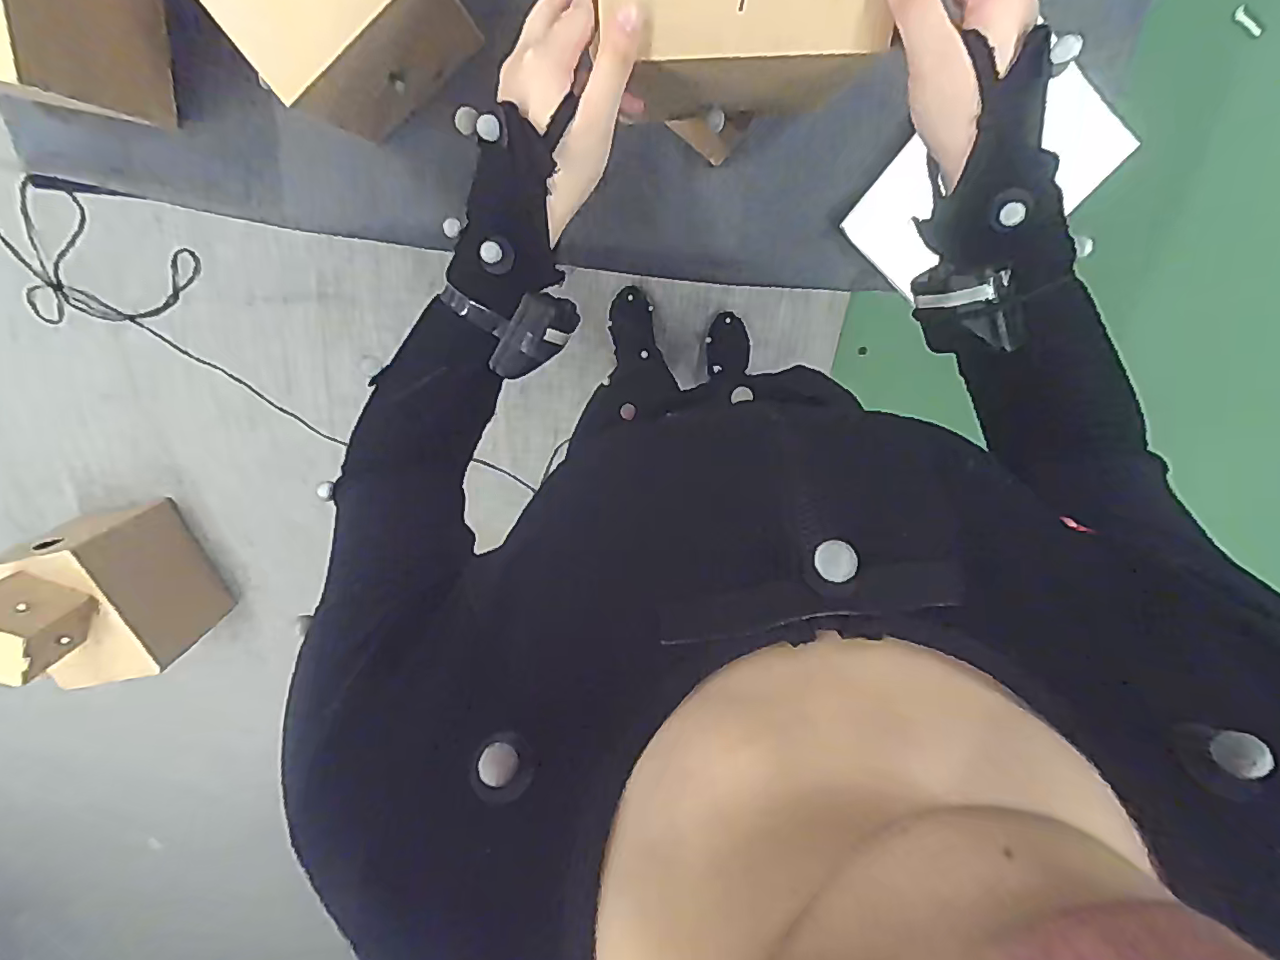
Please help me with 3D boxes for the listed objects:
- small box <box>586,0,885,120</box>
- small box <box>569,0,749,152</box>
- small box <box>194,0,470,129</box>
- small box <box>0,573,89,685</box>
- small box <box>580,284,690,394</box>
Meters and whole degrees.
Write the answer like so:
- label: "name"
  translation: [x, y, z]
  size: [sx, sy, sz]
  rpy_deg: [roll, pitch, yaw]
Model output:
- label: "small box"
  translation: [0.054, -0.350, 0.344]
  size: [0.168, 0.176, 0.179]
  rpy_deg: [0, 114, 3]
- label: "small box"
  translation: [0.059, -0.431, 0.490]
  size: [0.179, 0.176, 0.168]
  rpy_deg: [33, 109, -11]
- label: "small box"
  translation: [-0.284, -0.451, 0.485]
  size: [0.168, 0.176, 0.179]
  rpy_deg: [-33, 108, 13]
- label: "small box"
  translation: [-1.498, 0.353, 1.302]
  size: [0.179, 0.176, 0.168]
  rpy_deg: [25, 111, -12]
- label: "small box"
  translation: [-0.004, -0.338, 1.298]
  size: [0.179, 0.168, 0.176]
  rpy_deg: [-54, 133, -6]
